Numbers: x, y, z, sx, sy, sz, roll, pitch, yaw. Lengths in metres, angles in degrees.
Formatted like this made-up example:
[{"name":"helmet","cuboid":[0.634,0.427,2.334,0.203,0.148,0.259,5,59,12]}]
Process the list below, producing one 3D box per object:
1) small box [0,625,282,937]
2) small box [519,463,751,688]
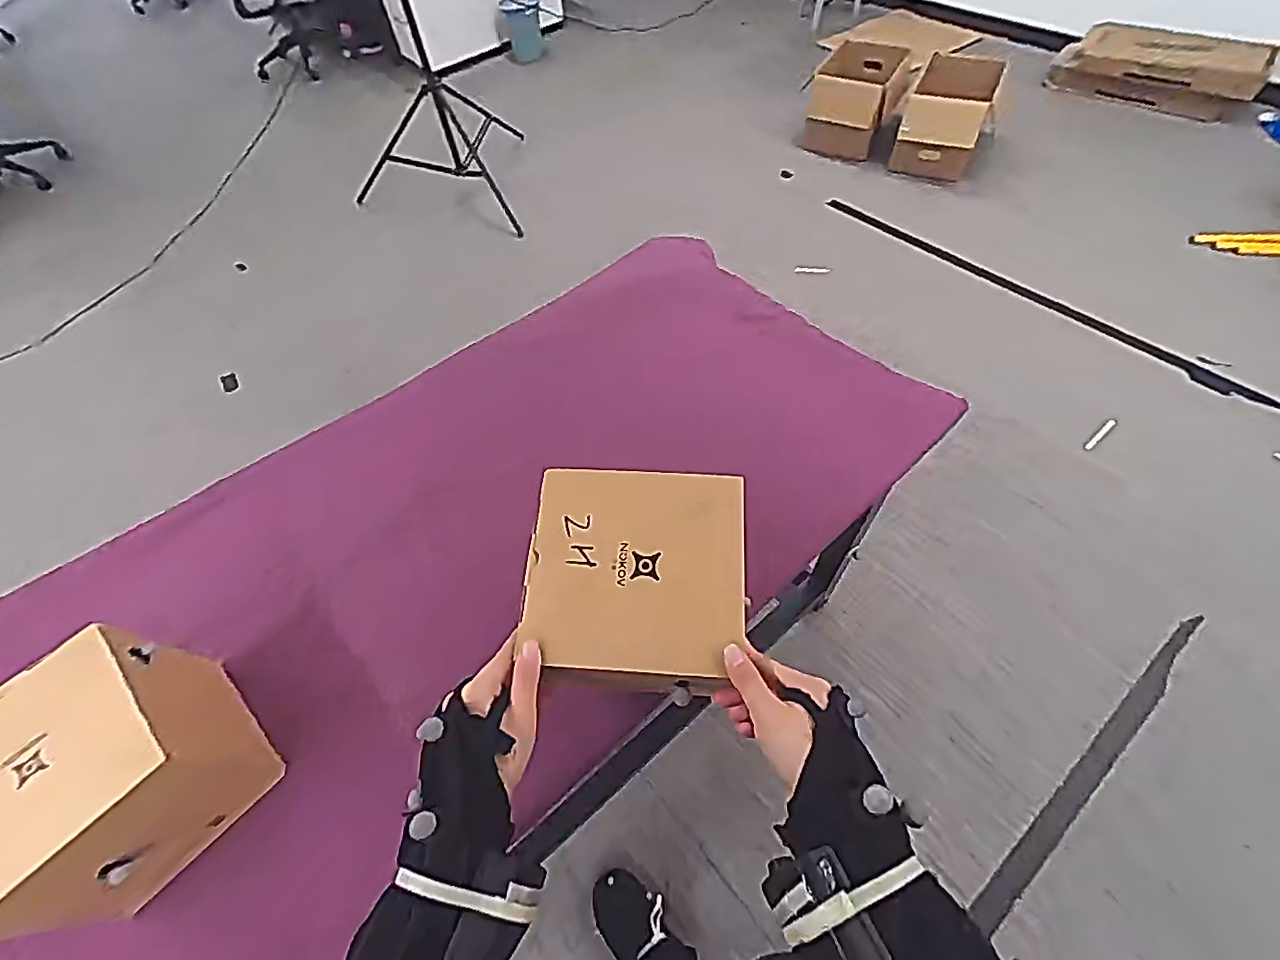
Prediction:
[{"name":"small box","cuboid":[-0.493,0.275,0.514,0.179,0.176,0.168,35,66,24]},{"name":"small box","cuboid":[0.004,0.097,0.508,0.179,0.176,0.168,2,64,5]}]
